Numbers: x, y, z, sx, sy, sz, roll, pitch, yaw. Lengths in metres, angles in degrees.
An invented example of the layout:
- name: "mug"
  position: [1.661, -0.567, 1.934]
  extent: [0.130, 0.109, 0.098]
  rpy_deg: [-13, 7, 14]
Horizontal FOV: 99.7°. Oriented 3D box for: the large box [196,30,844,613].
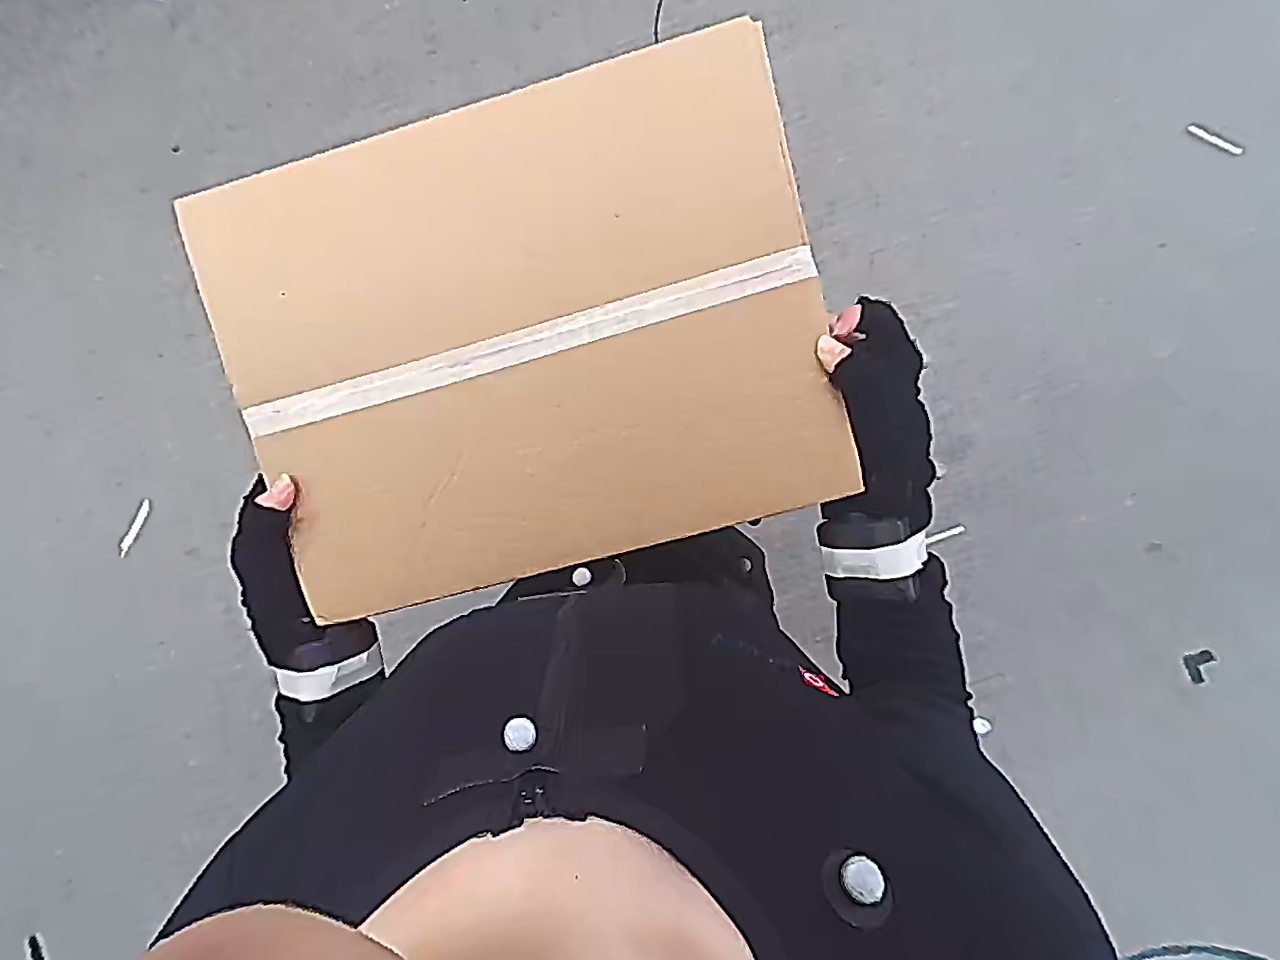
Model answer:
- name: "large box"
  position: [-0.075, -0.114, 0.527]
  extent: [0.408, 0.320, 0.320]
  rpy_deg: [-15, 95, 5]
